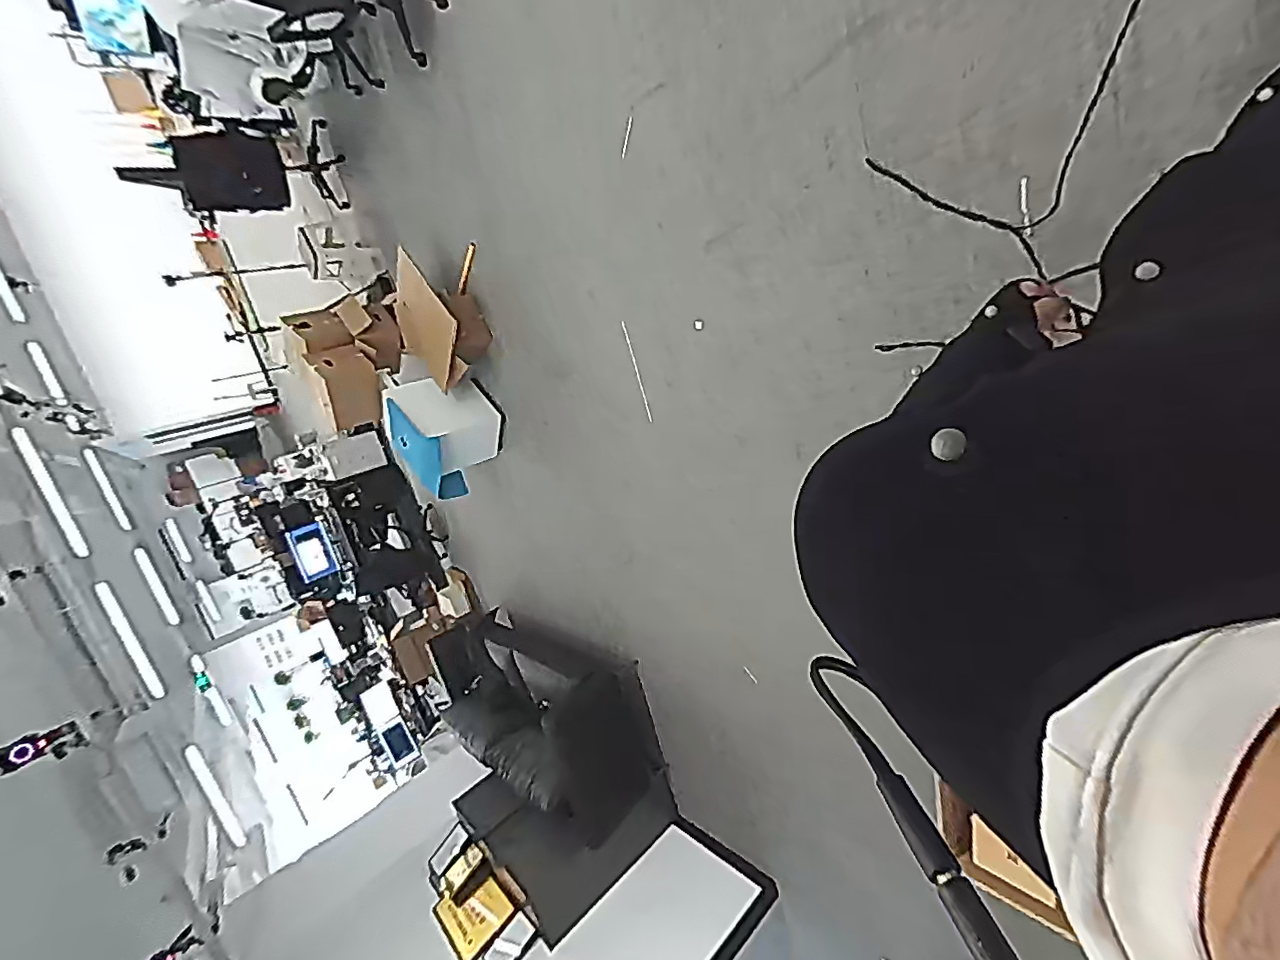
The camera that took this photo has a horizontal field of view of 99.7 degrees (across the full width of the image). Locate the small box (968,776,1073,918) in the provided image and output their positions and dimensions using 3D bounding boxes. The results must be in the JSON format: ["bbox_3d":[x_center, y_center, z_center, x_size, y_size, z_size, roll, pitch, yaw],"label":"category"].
[{"bbox_3d":[0.887,0.844,1.262,0.168,0.176,0.179,8,115,49],"label":"small box"}]
